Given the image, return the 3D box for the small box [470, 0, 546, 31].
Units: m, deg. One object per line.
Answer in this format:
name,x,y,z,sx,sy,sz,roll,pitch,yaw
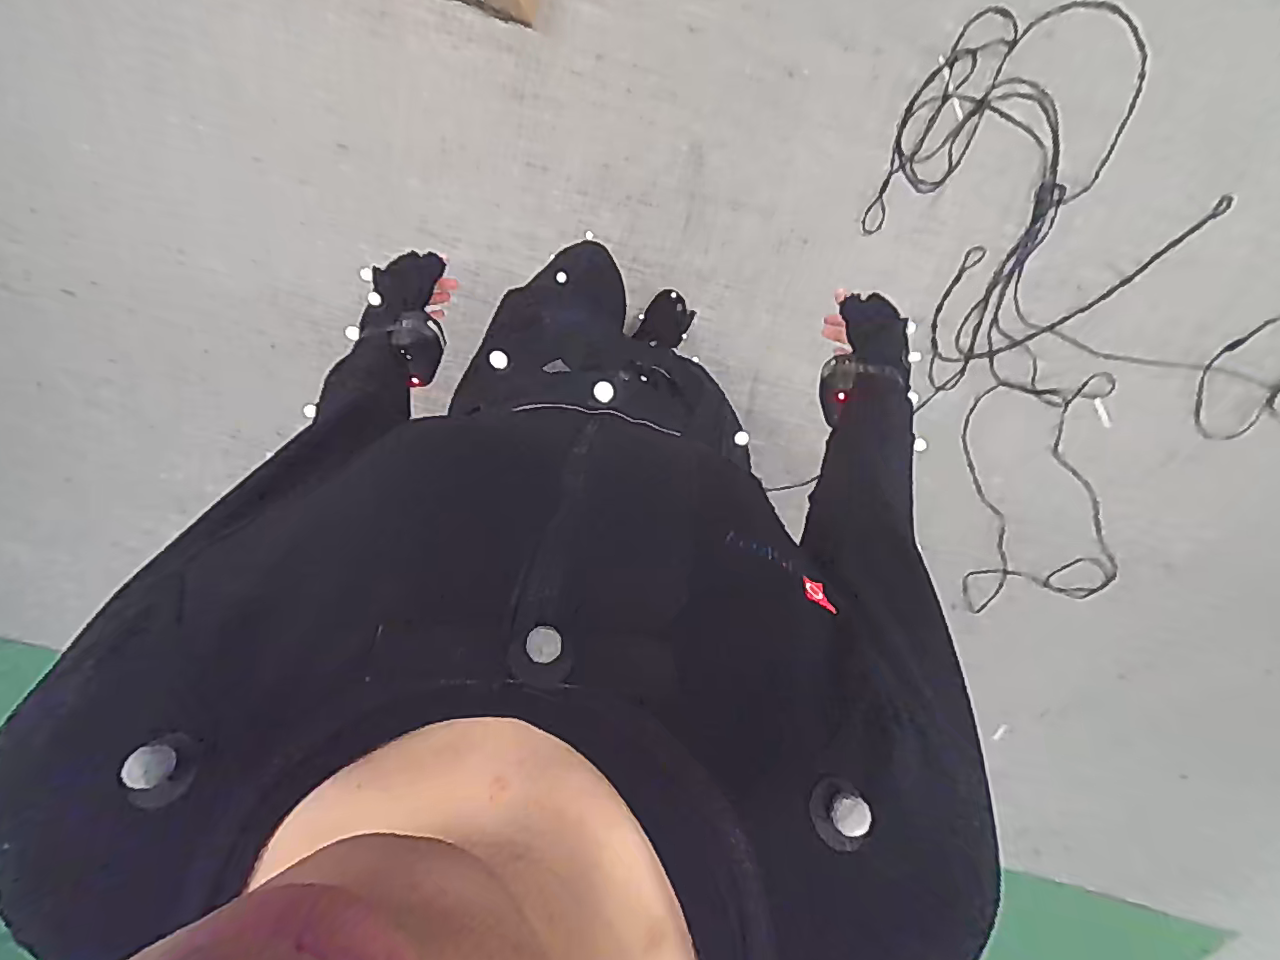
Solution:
small box,-0.265,-1.022,1.043,0.168,0.176,0.179,21,110,-6
